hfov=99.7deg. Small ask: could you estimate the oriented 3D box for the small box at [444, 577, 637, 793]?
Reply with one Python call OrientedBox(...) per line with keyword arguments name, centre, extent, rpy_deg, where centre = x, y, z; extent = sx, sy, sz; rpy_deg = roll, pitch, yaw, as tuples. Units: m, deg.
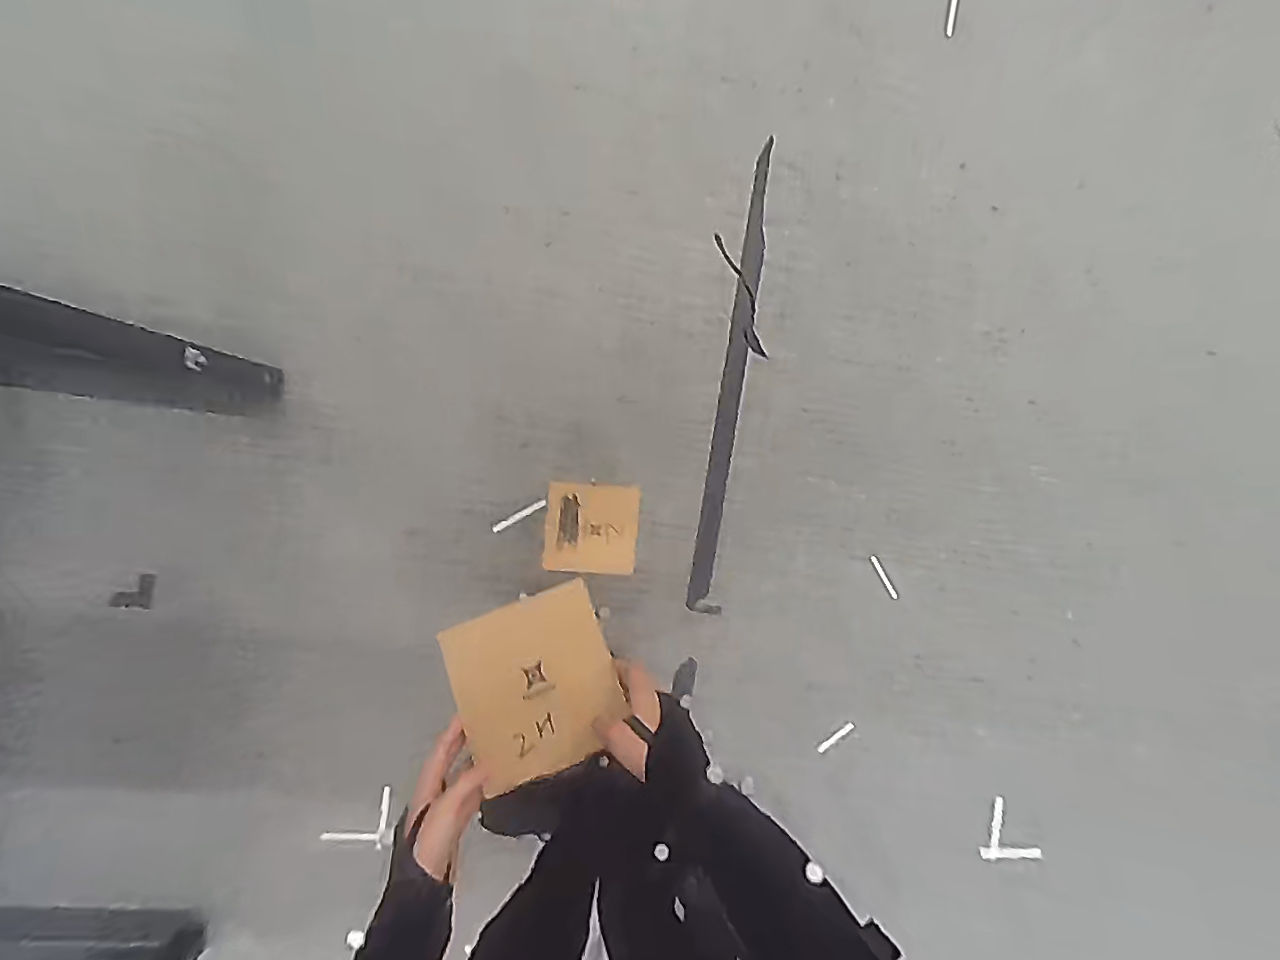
OrientedBox(name="small box", centre=(-0.114, 0.232, 0.648), extent=(0.168, 0.176, 0.179), rpy_deg=(-19, 78, -9))
